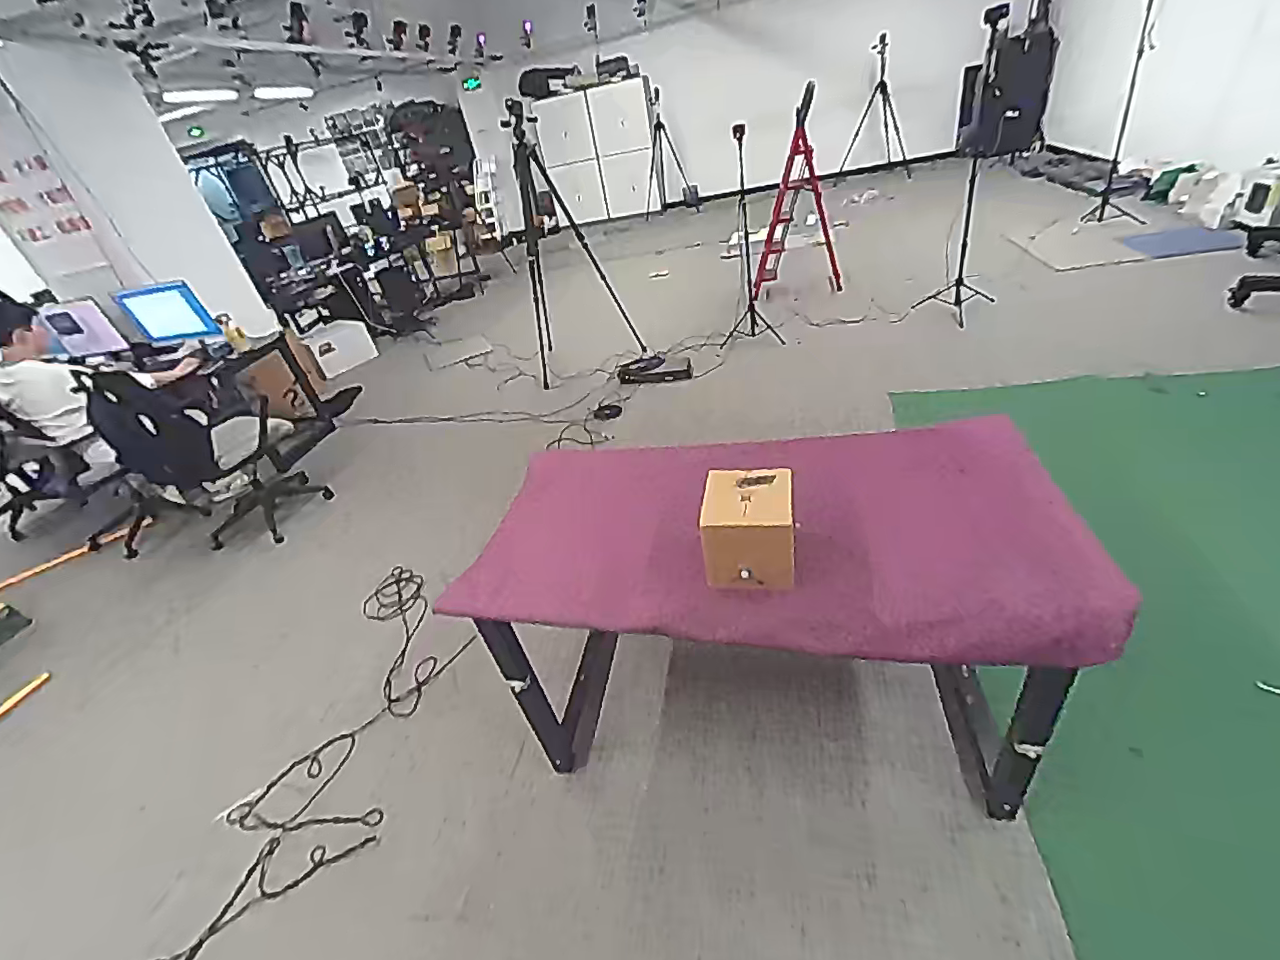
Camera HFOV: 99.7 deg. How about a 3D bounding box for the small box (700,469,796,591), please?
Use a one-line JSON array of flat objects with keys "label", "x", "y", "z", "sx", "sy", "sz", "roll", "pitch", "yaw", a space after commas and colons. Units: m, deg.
[{"label": "small box", "x": 0.218, "y": 0.095, "z": 1.064, "sx": 0.168, "sy": 0.176, "sz": 0.179, "roll": -2, "pitch": 36, "yaw": 17}]
